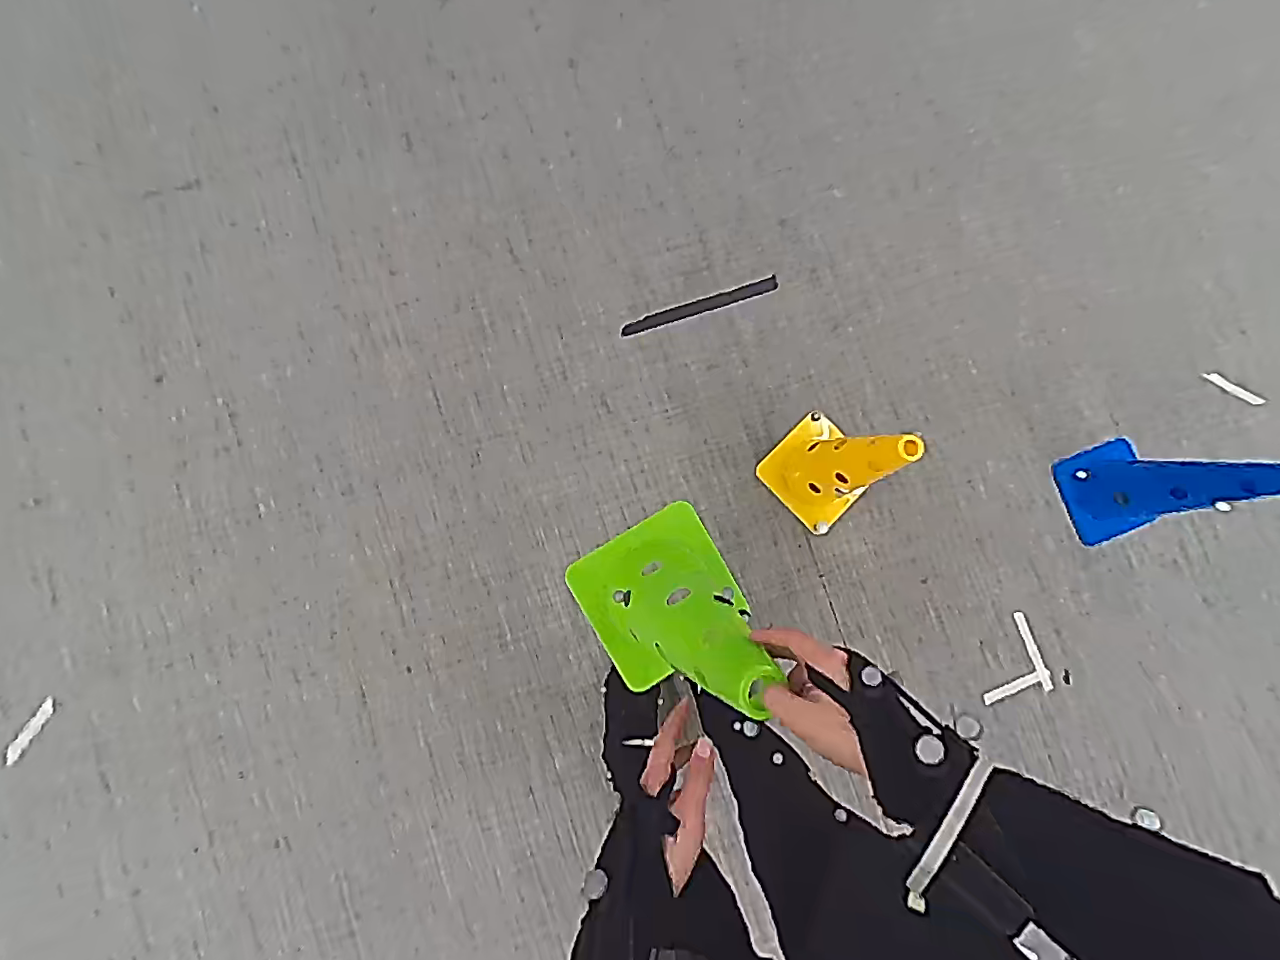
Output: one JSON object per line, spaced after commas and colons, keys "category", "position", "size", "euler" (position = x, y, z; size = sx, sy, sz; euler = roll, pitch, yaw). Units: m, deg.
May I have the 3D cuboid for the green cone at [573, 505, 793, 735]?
{"category": "green cone", "position": [0.064, 0.155, 0.552], "size": [0.202, 0.368, 0.200], "euler": [-30, 93, -8]}
